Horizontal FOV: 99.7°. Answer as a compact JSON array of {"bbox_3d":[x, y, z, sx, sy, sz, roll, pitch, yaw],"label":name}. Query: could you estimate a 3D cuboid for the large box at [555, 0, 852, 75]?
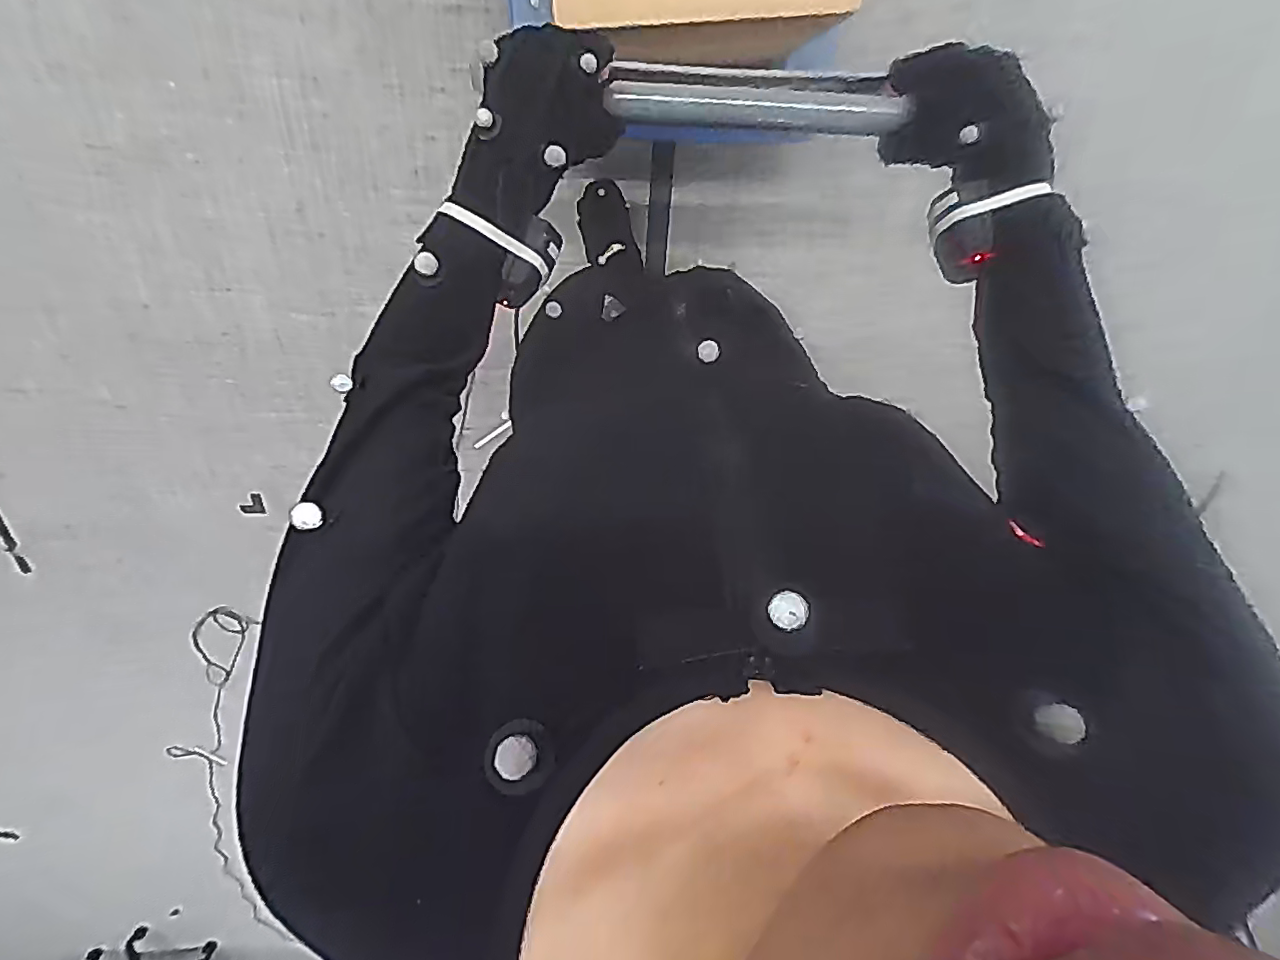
[{"bbox_3d":[0.065,-0.817,0.782,0.408,0.320,0.320,-5,120,-2],"label":"large box"}]
